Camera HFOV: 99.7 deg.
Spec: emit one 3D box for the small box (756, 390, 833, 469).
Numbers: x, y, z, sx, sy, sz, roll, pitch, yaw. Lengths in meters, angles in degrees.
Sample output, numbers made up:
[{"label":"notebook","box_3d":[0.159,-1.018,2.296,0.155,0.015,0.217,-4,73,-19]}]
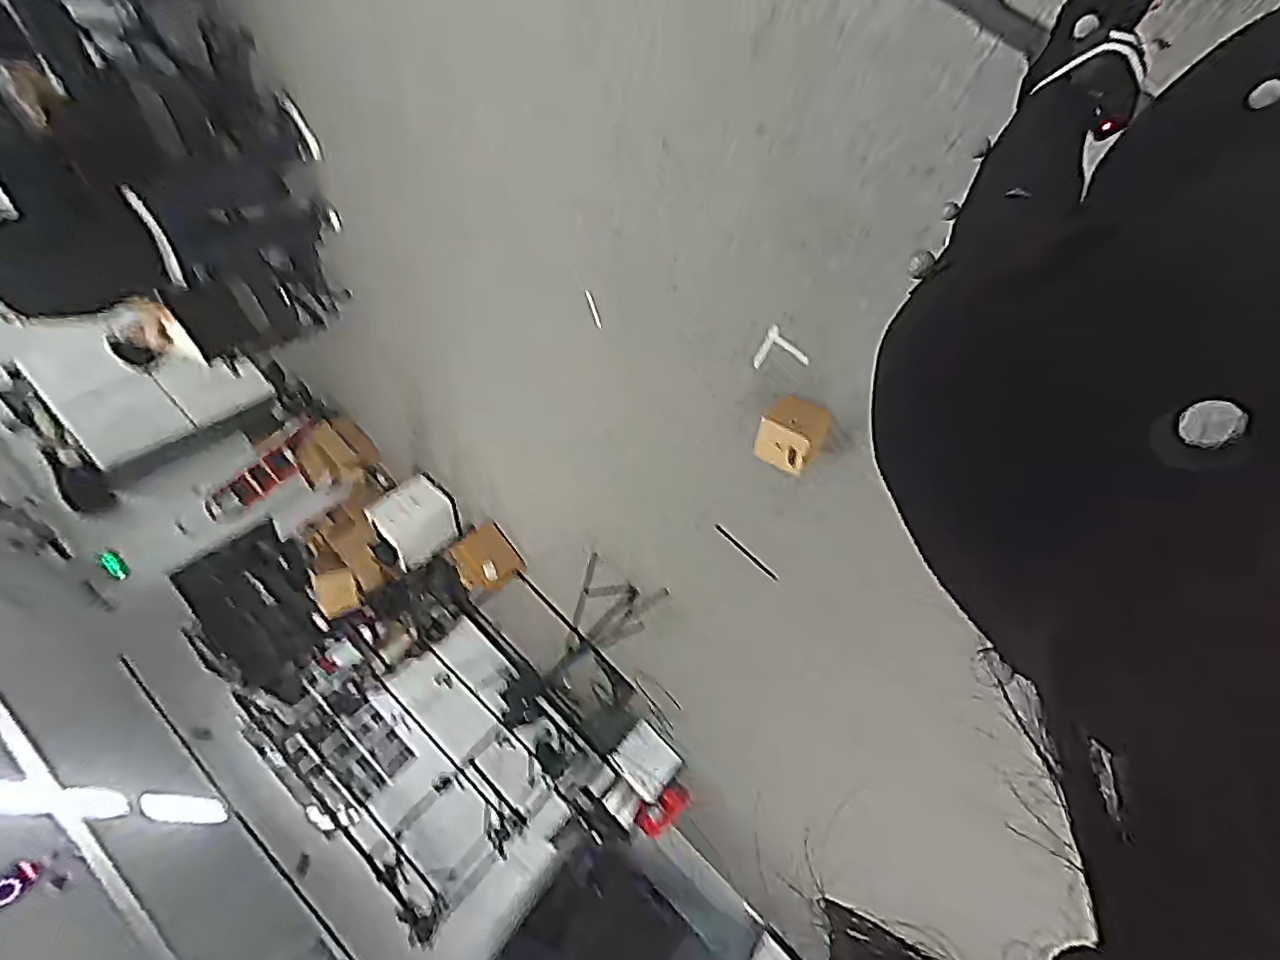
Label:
[{"label":"small box","box_3d":[0.517,-0.173,1.804,0.179,0.176,0.168,32,143,25]}]
